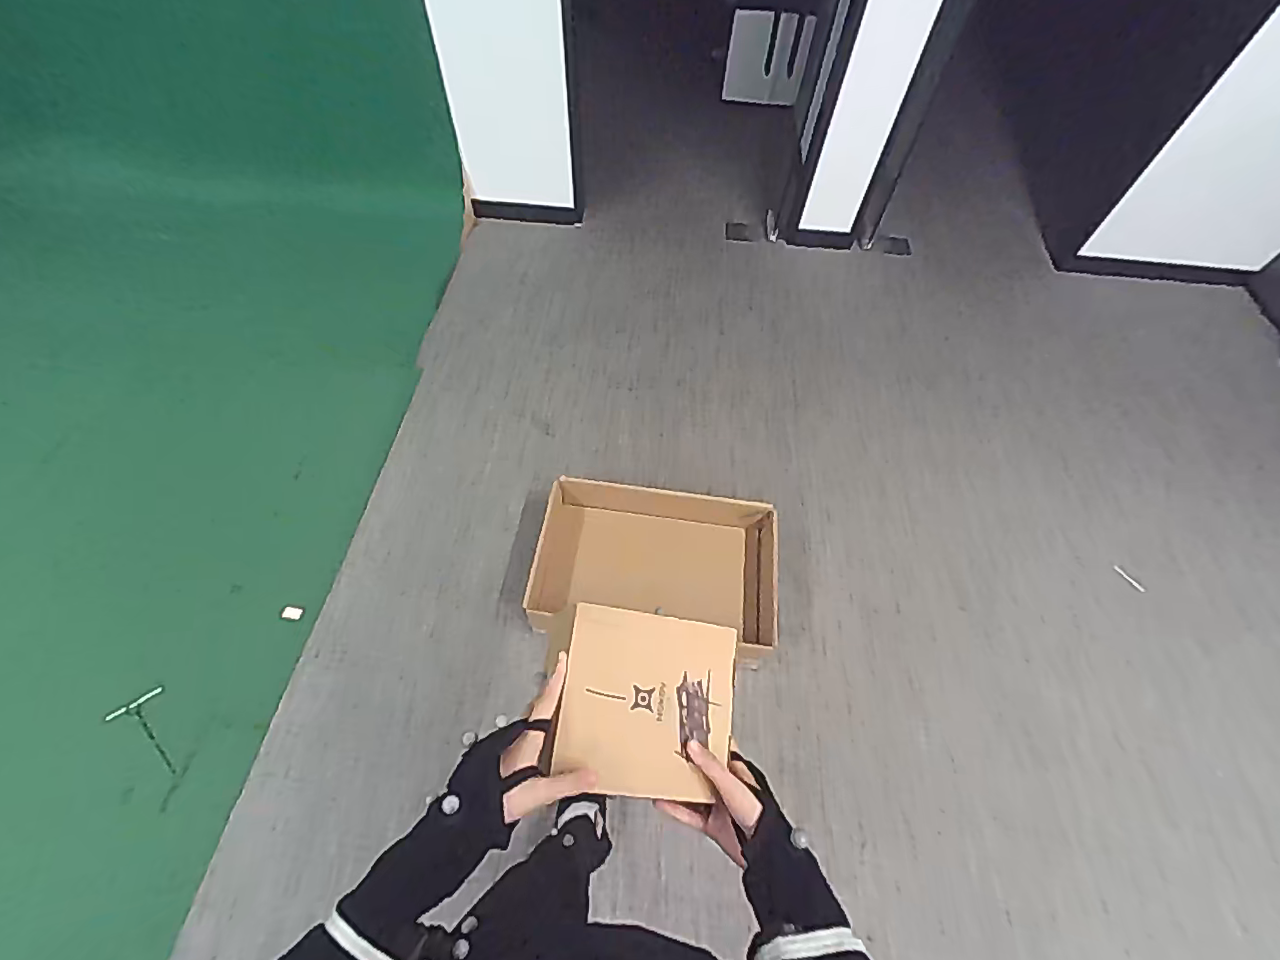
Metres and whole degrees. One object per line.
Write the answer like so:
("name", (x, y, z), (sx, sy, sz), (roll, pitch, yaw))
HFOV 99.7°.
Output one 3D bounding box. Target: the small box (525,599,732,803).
("small box", (-0.019, 0.236, 0.594), (0.179, 0.176, 0.168), (13, 68, -11))
